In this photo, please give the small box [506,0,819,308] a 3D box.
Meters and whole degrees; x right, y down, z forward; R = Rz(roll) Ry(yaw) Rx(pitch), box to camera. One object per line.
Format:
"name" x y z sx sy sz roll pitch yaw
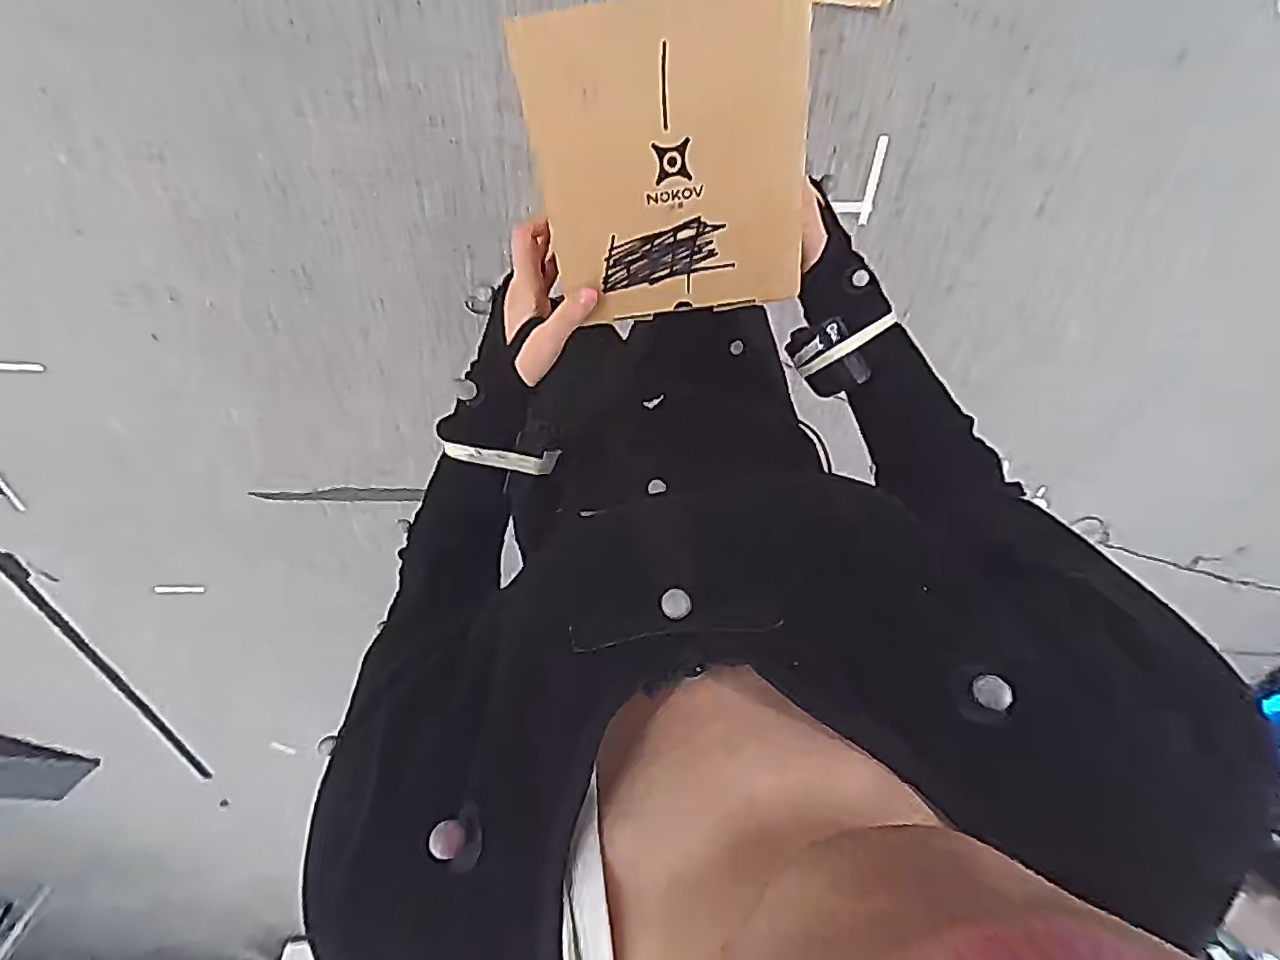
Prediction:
"small box" 0.020 -0.247 0.388 0.168 0.176 0.179 -7 129 4
